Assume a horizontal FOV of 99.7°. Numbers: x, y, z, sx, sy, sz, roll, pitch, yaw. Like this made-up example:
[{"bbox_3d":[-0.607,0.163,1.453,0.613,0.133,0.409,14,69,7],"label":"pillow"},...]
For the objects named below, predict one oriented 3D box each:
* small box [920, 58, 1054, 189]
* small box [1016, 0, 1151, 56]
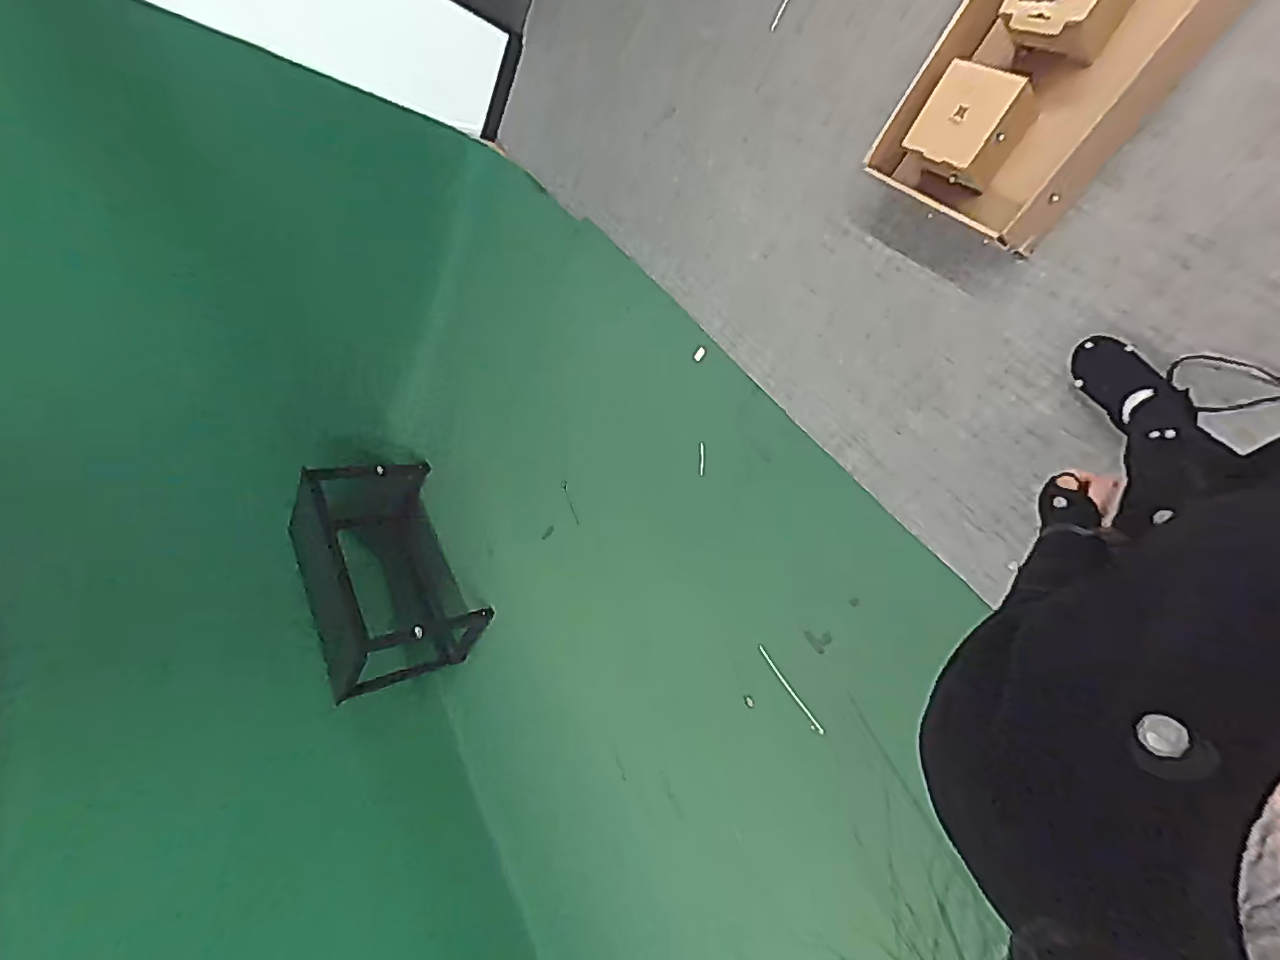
[{"bbox_3d":[0.765,-0.773,1.189,0.168,0.176,0.179,47,124,31],"label":"small box"},{"bbox_3d":[0.884,-0.963,1.045,0.168,0.176,0.179,45,124,34],"label":"small box"}]
